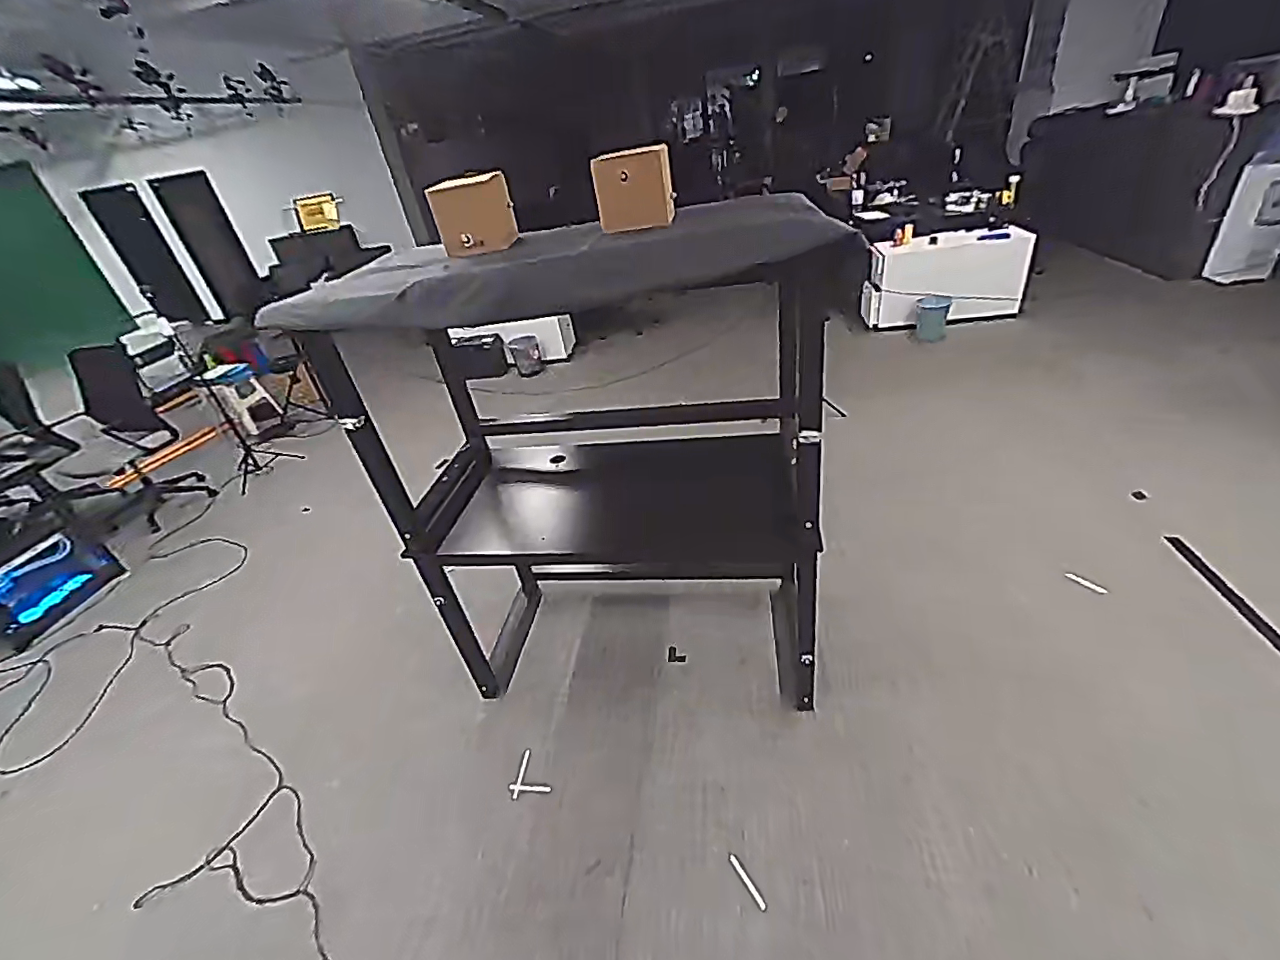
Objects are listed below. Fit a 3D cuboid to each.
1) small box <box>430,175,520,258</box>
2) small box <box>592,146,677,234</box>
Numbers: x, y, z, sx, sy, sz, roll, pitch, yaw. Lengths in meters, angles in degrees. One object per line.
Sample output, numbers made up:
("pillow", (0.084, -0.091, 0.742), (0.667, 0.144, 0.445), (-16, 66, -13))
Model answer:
("small box", (-0.435, -0.710, 1.461), (0.168, 0.176, 0.179), (-8, 33, 7))
("small box", (-0.008, -0.745, 1.393), (0.179, 0.176, 0.168), (-3, 35, 12))
